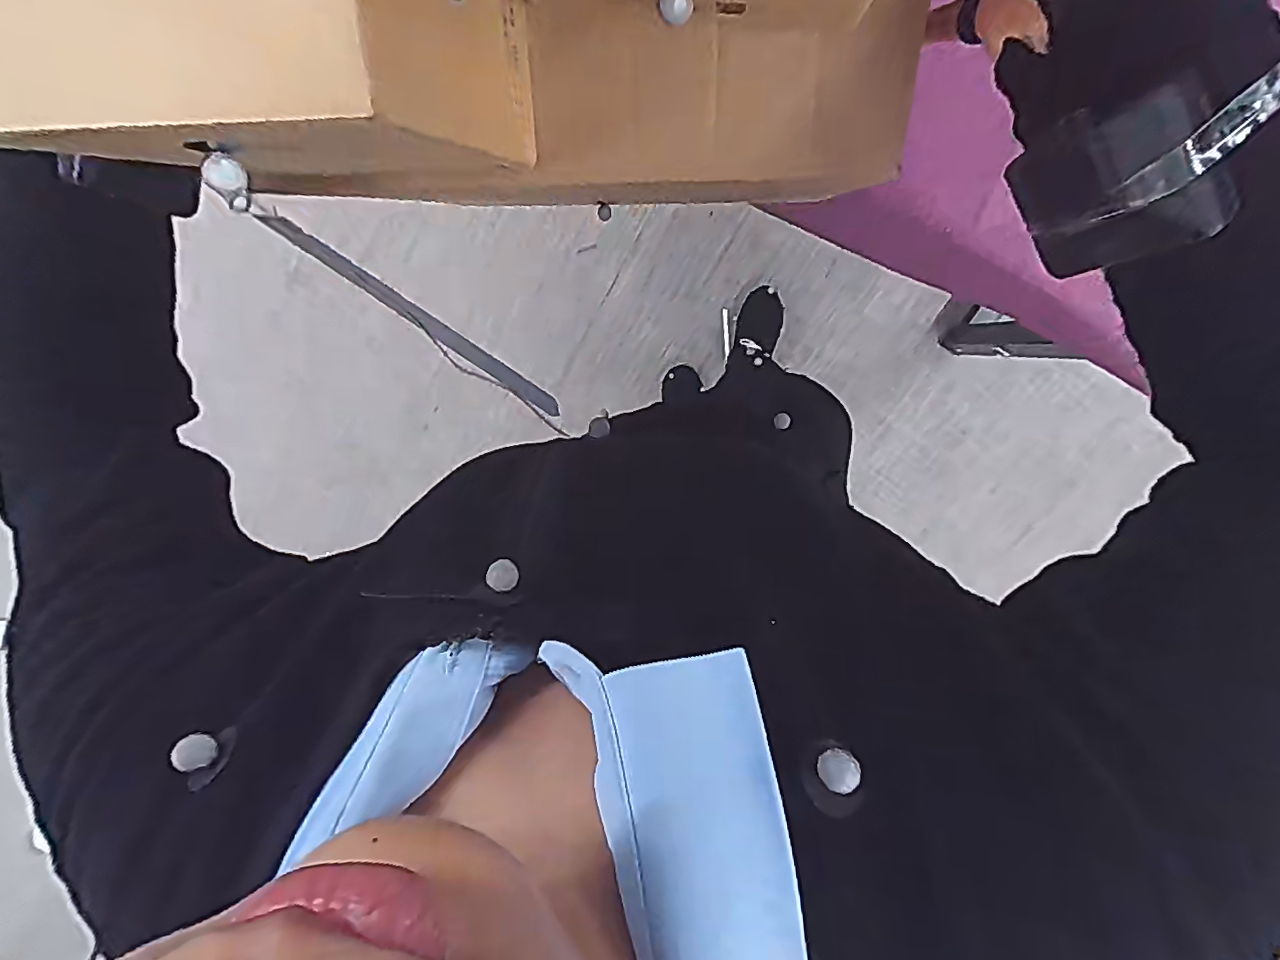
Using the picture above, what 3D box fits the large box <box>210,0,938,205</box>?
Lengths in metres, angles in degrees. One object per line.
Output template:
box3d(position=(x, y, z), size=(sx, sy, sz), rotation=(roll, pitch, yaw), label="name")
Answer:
box3d(position=(-0.026, -0.382, 0.391), size=(0.408, 0.320, 0.320), rotation=(3, 114, 10), label="large box")
